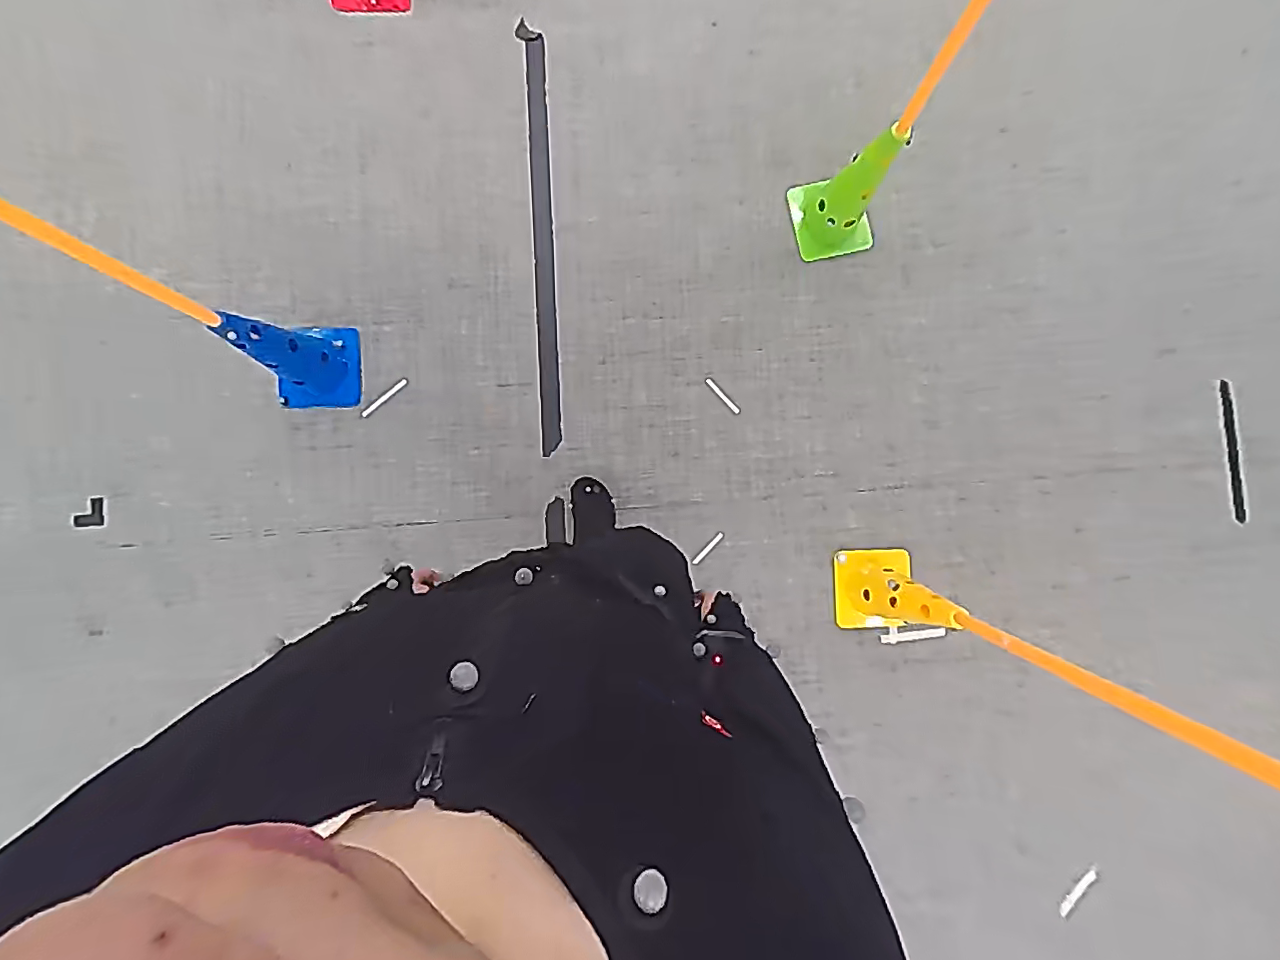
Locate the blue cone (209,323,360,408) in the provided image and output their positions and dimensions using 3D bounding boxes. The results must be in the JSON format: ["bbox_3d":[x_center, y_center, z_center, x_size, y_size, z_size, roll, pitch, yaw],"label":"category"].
[{"bbox_3d":[-0.789,-0.278,1.181,0.193,0.380,0.192,0,89,-3],"label":"blue cone"}]

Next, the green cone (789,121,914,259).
[{"bbox_3d":[0.509,-0.694,1.246,0.200,0.368,0.202,-14,91,-3],"label":"green cone"}]

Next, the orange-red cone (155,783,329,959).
[{"bbox_3d":[-0.842,0.830,1.123,0.199,0.360,0.198,-8,89,-4],"label":"orange-red cone"}]
